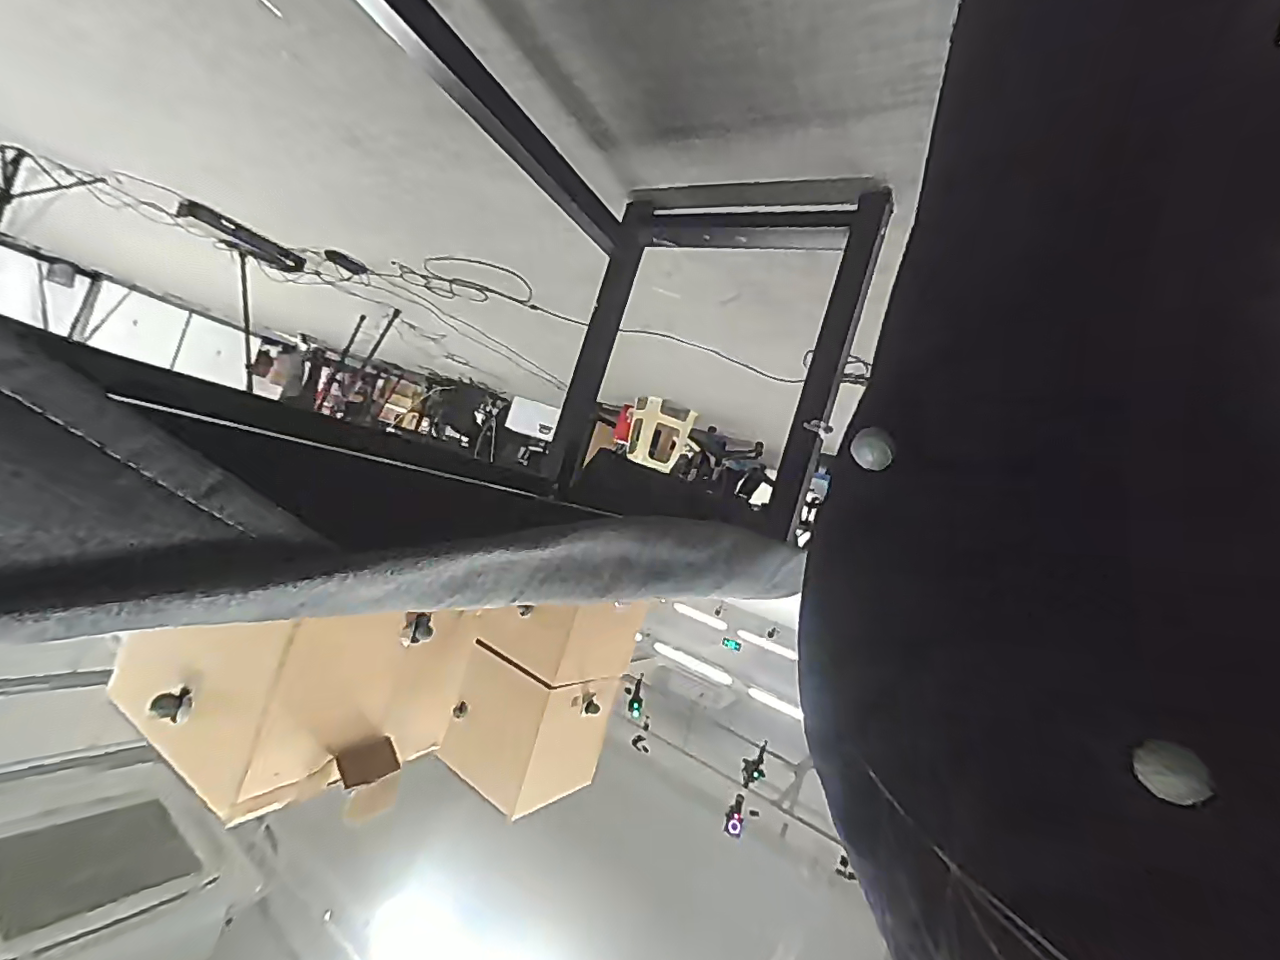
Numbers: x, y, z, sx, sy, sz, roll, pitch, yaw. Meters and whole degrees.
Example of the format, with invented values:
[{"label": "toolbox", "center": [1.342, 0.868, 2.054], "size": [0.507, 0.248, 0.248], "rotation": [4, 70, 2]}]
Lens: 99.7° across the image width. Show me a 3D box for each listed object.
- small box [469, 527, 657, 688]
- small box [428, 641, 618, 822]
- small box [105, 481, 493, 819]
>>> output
[{"label": "small box", "center": [-0.104, 0.168, 0.762], "size": [0.179, 0.176, 0.168], "rotation": [16, 177, 35]}, {"label": "small box", "center": [-0.157, 0.322, 0.752], "size": [0.179, 0.176, 0.168], "rotation": [15, 178, 34]}, {"label": "small box", "center": [-0.246, 0.105, 0.416], "size": [0.179, 0.176, 0.168], "rotation": [17, 177, 27]}]
